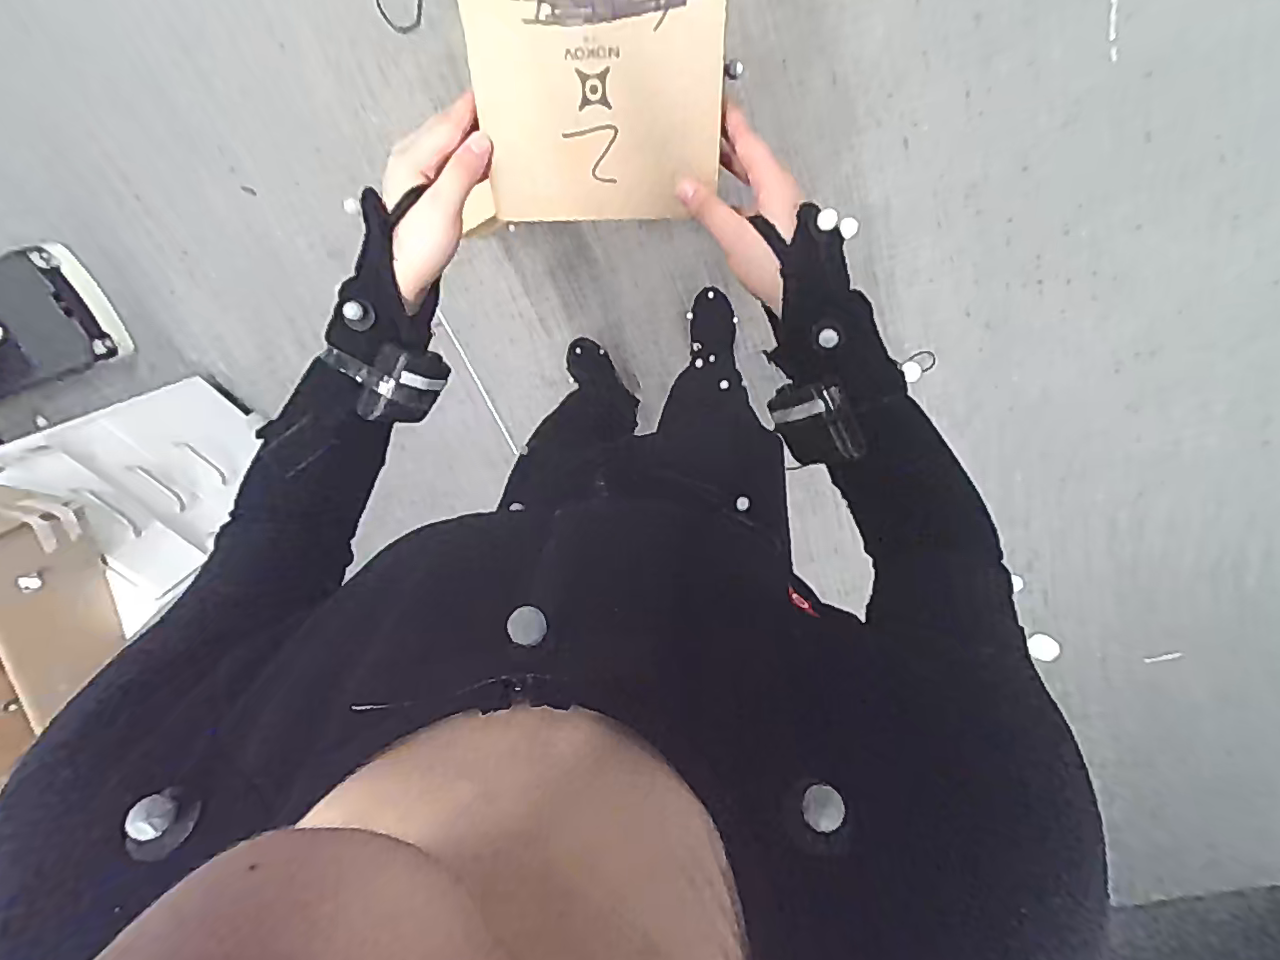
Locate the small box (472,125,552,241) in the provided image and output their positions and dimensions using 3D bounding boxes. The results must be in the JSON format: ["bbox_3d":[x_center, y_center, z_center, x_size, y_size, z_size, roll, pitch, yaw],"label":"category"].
[{"bbox_3d":[-0.301,-0.634,1.151,0.179,0.176,0.168,-21,115,14],"label":"small box"}]

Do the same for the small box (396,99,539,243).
[{"bbox_3d":[-0.303,-0.565,1.001,0.179,0.176,0.168,-22,114,14],"label":"small box"}]
